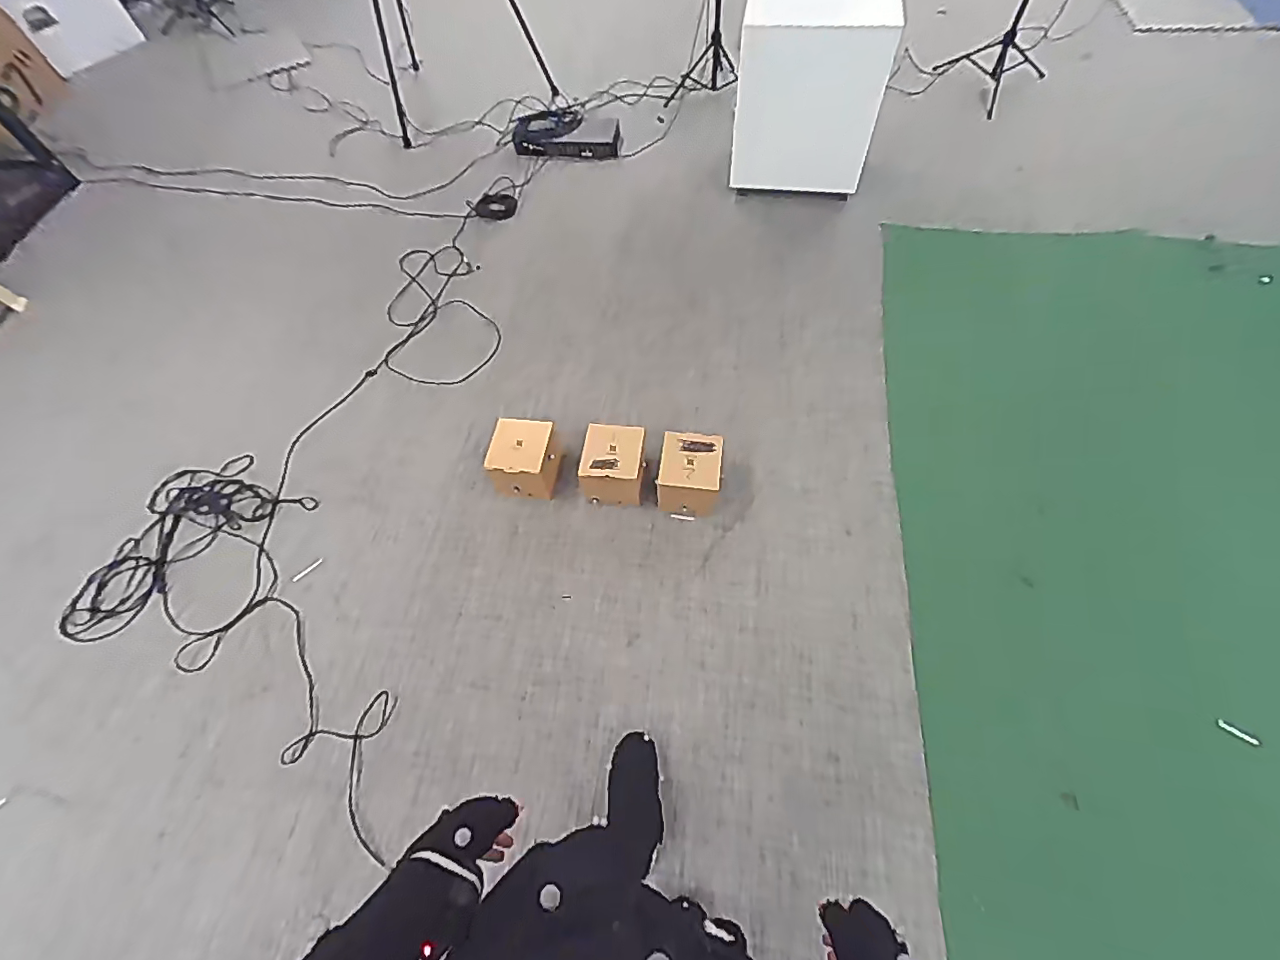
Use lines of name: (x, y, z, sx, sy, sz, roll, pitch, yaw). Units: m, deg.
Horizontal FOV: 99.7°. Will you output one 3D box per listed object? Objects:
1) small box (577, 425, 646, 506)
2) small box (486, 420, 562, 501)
small box: (-0.075, -0.039, 1.584, 0.168, 0.176, 0.179, 4, 60, 8)
small box: (-0.338, -0.057, 1.618, 0.168, 0.176, 0.179, 5, 61, 8)
